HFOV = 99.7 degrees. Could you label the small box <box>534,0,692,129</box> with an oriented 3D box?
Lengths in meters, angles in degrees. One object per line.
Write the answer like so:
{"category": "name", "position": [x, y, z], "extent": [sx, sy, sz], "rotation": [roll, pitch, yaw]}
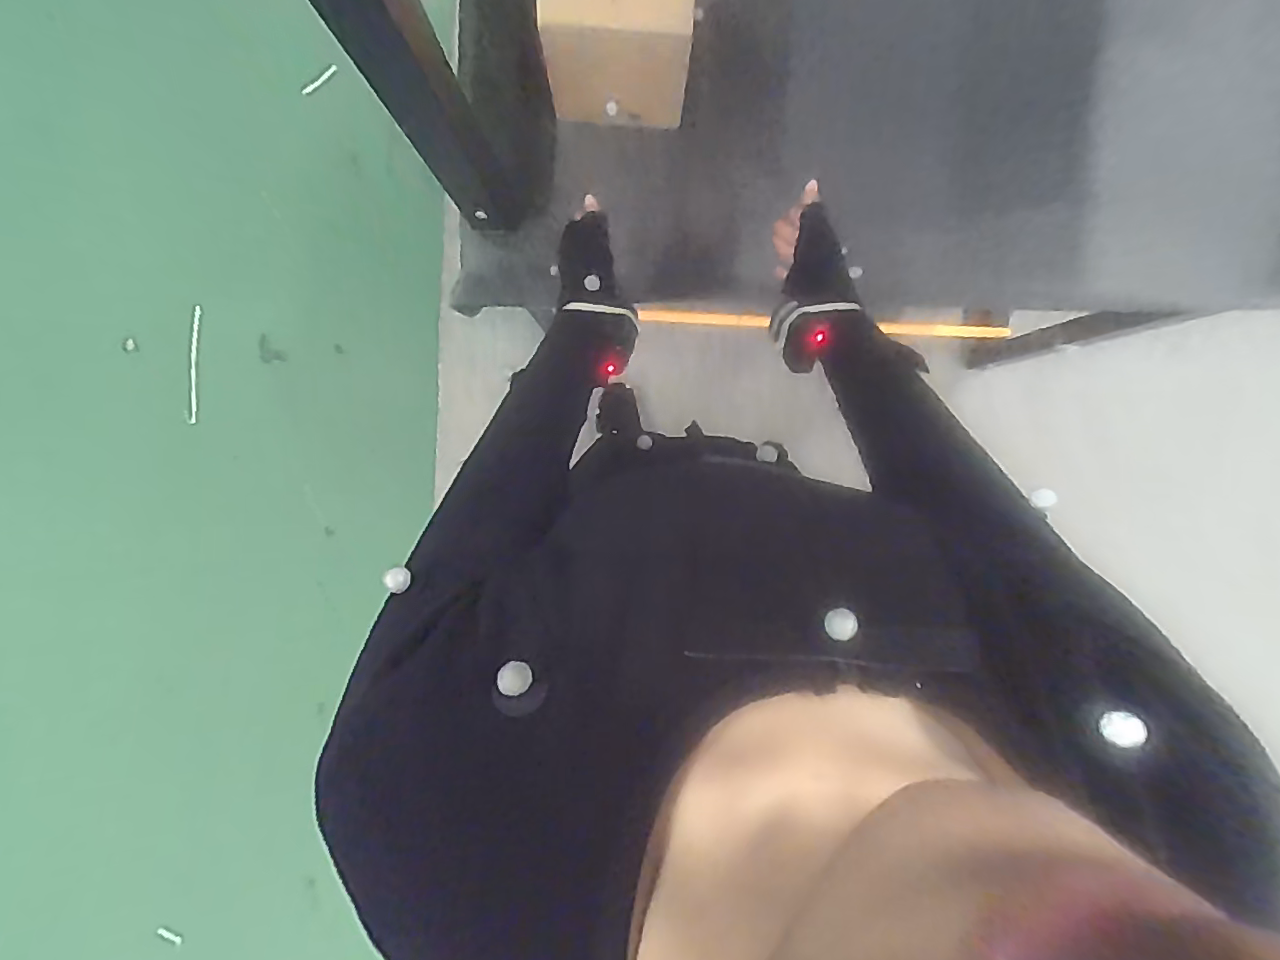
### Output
{"category": "small box", "position": [-0.025, -0.560, 0.641], "extent": [0.168, 0.176, 0.179], "rotation": [4, 93, -1]}
